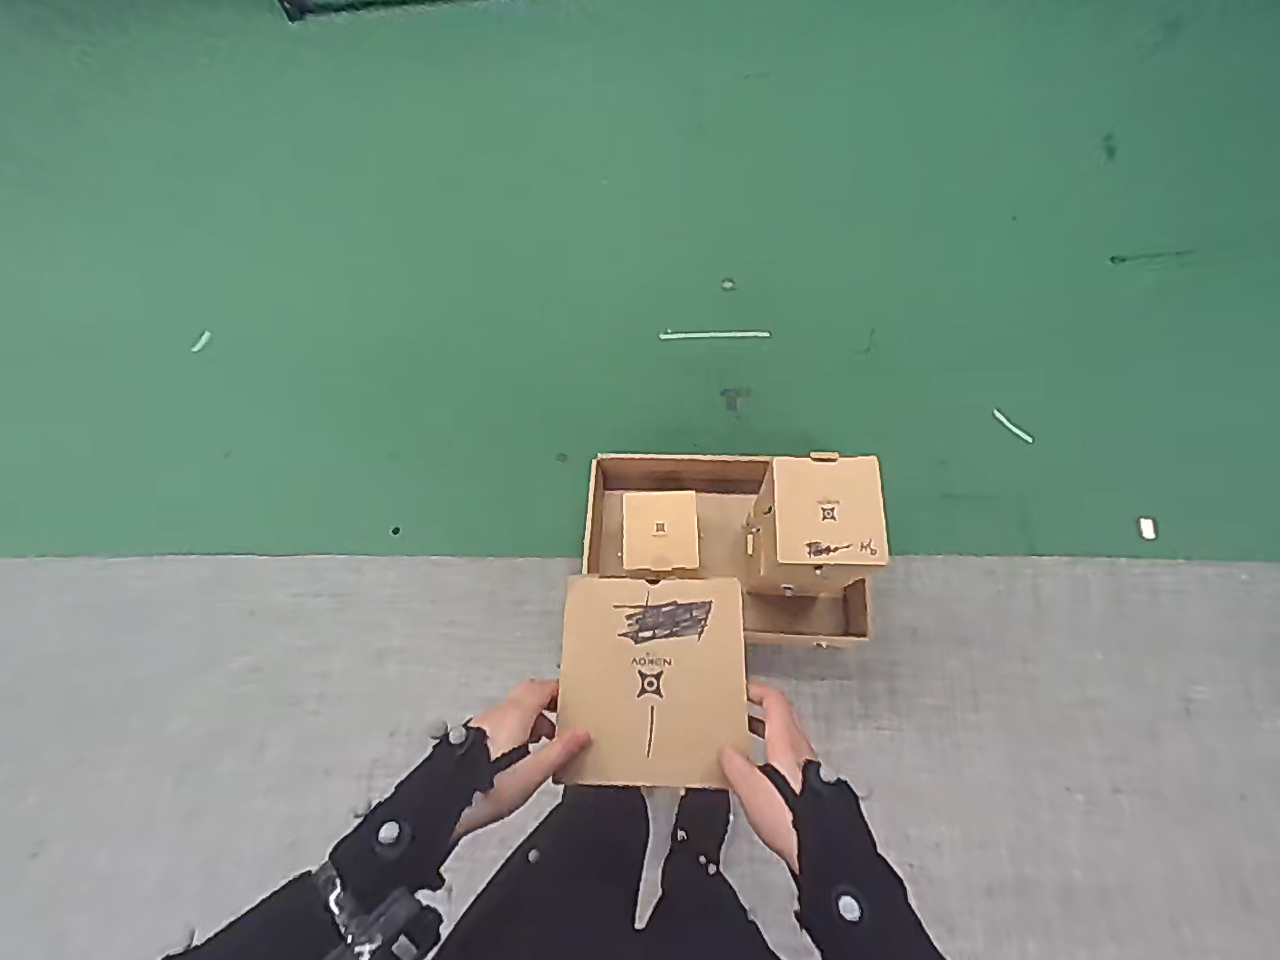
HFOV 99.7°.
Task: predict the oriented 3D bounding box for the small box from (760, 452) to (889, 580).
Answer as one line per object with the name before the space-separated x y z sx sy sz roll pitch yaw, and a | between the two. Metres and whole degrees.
small box | 0.295 0.065 0.904 0.168 0.176 0.179 0 71 6

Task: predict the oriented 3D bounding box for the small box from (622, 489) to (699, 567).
small box | 0.046 0.130 1.250 0.168 0.176 0.179 -3 72 3

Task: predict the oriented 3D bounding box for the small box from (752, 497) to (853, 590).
small box | 0.310 0.115 1.060 0.168 0.176 0.179 2 73 7

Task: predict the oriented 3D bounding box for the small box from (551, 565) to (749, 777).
small box | 0.013 0.194 0.548 0.168 0.176 0.179 0 66 3
